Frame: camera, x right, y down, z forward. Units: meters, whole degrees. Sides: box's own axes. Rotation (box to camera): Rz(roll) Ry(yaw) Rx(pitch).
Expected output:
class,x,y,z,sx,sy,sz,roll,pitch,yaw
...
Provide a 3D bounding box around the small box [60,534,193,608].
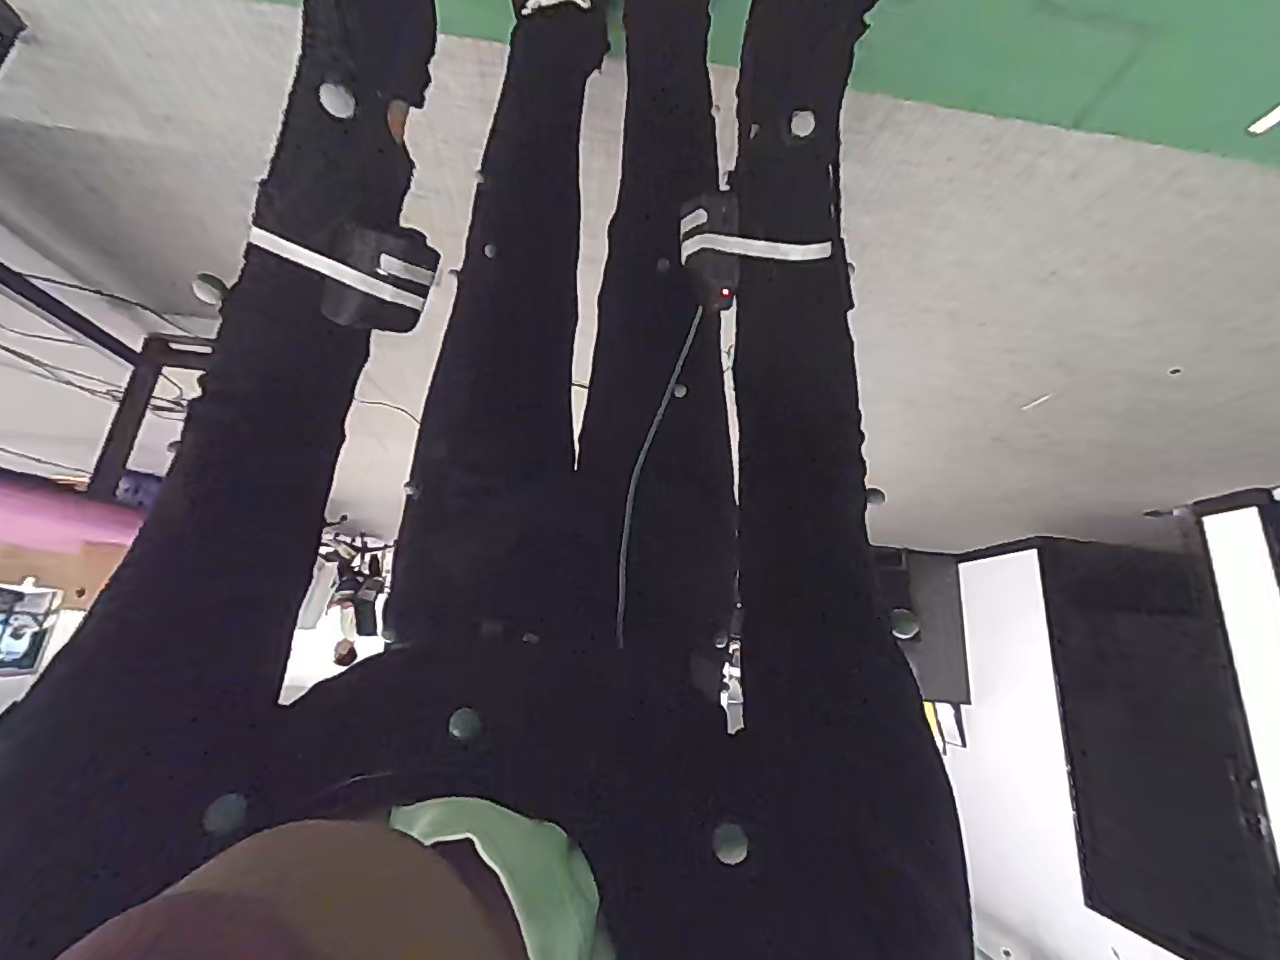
class,x,y,z,sx,sy,sz,roll,pitch,yaw
small box,-1.359,0.243,1.447,0.179,0.176,0.168,5,164,1
